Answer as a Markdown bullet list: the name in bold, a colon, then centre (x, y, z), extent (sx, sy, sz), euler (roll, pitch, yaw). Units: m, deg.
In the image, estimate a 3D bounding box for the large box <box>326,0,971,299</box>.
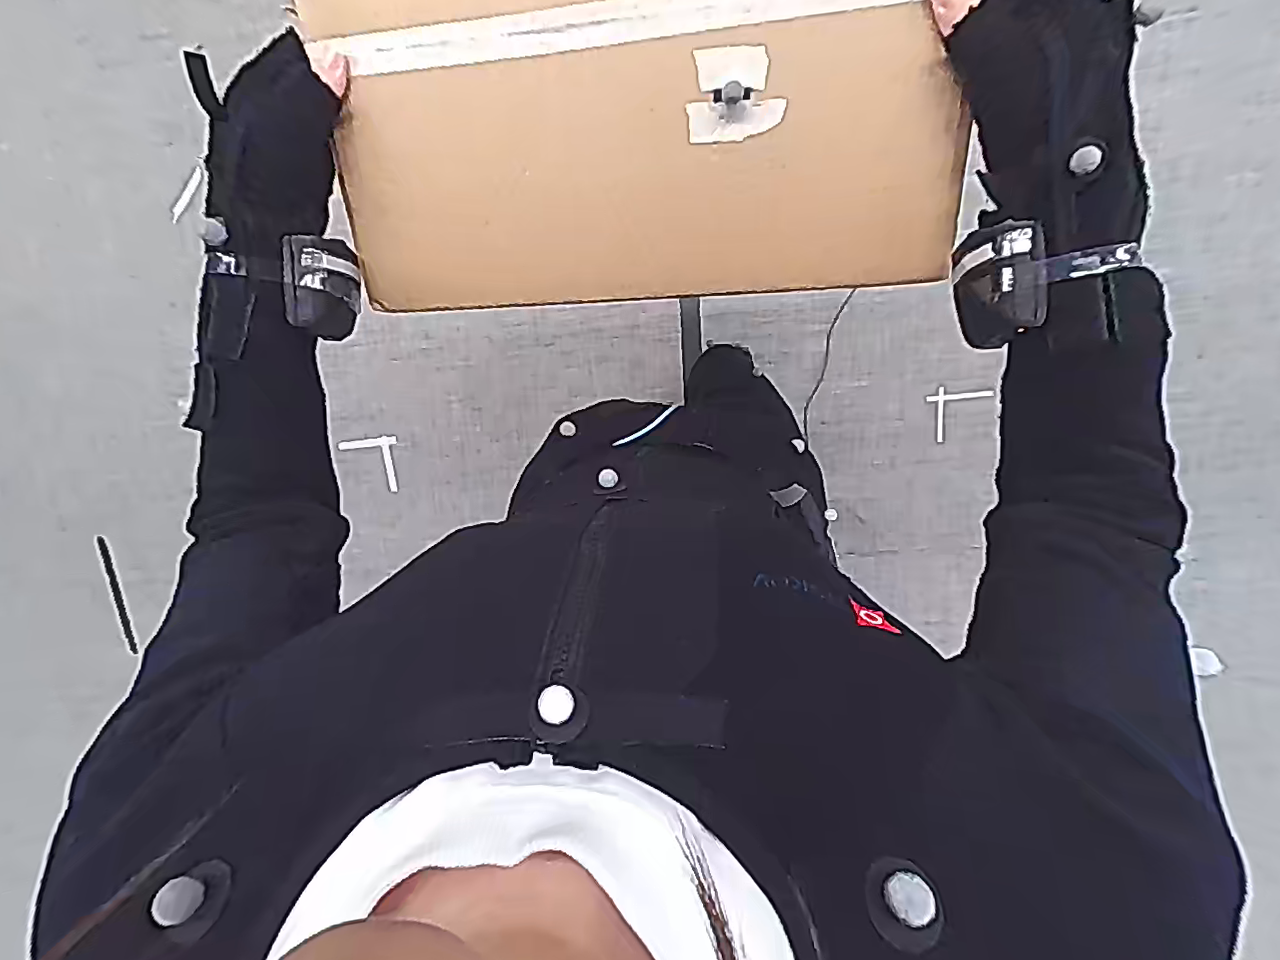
- **large box**: centre (0.011, -0.343, 0.469), extent (0.408, 0.320, 0.320), euler (-1, 113, 8)
